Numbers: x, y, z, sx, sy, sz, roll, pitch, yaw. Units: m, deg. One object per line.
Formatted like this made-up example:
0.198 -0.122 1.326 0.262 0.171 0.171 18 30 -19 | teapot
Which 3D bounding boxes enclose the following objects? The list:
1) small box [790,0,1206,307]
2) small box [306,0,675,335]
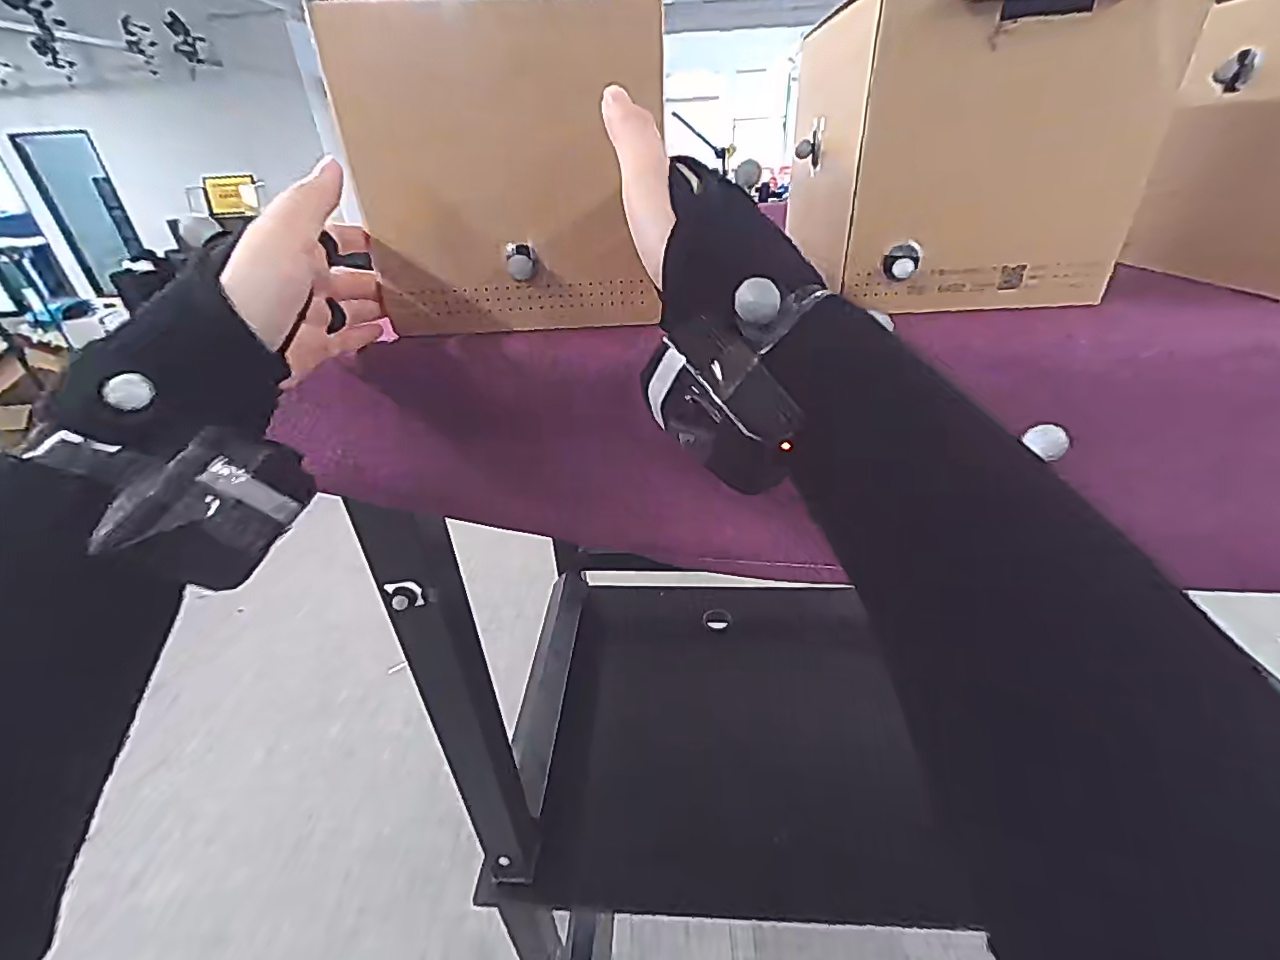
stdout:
0.208 -0.219 0.371 0.168 0.176 0.179 -2 30 2 | small box
-0.075 -0.201 0.362 0.179 0.176 0.168 -3 30 -4 | small box
